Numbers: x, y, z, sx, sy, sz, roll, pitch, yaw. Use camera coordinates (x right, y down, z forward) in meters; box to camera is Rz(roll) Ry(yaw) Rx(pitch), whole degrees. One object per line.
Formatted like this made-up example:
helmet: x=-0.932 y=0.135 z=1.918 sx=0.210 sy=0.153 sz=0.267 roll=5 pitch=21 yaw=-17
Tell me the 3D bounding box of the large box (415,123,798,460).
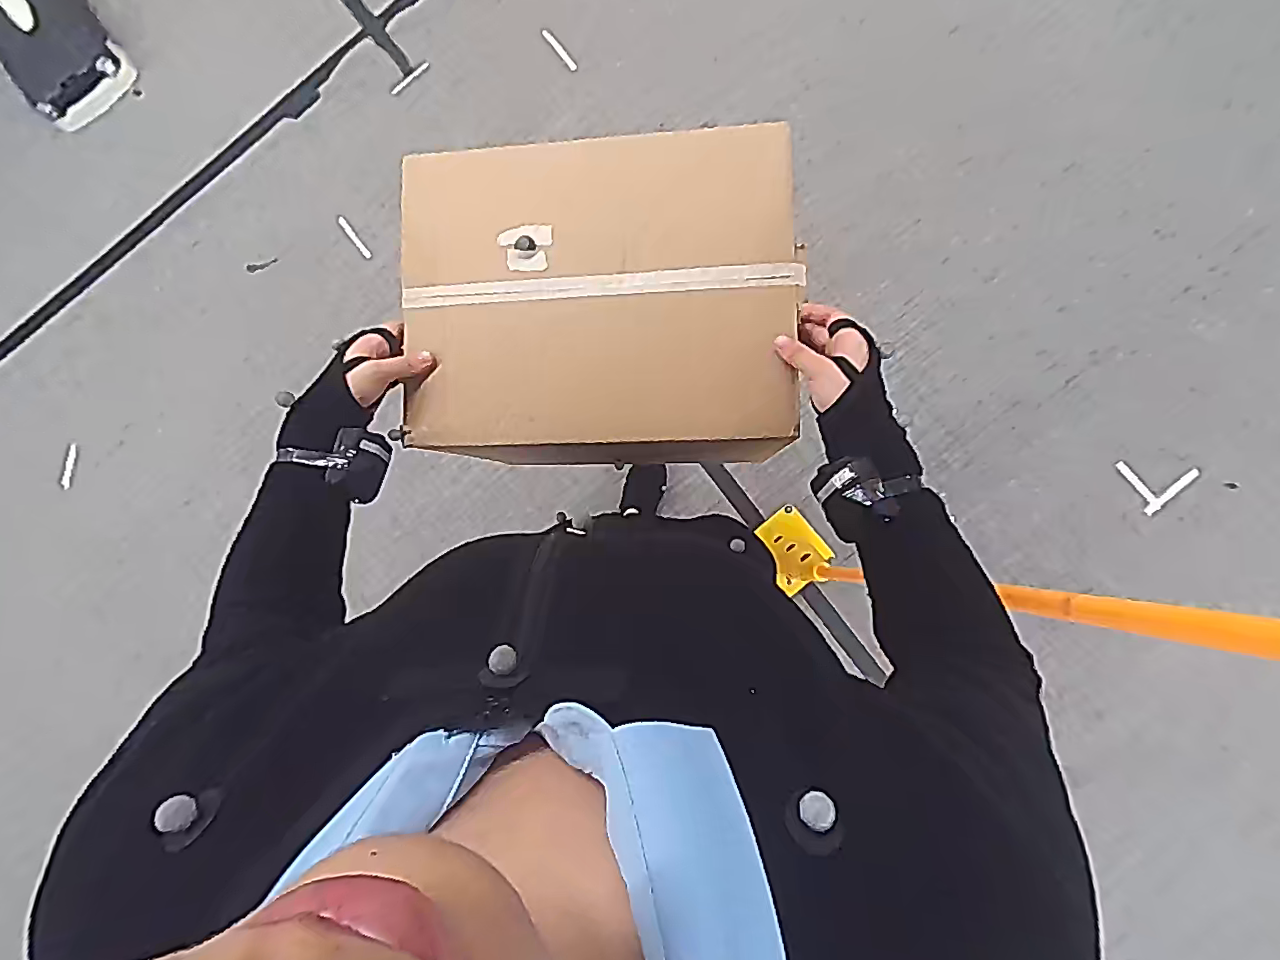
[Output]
large box: x=-0.024 y=-0.193 z=0.705 sx=0.408 sy=0.320 sz=0.320 roll=-1 pitch=87 yaw=8
